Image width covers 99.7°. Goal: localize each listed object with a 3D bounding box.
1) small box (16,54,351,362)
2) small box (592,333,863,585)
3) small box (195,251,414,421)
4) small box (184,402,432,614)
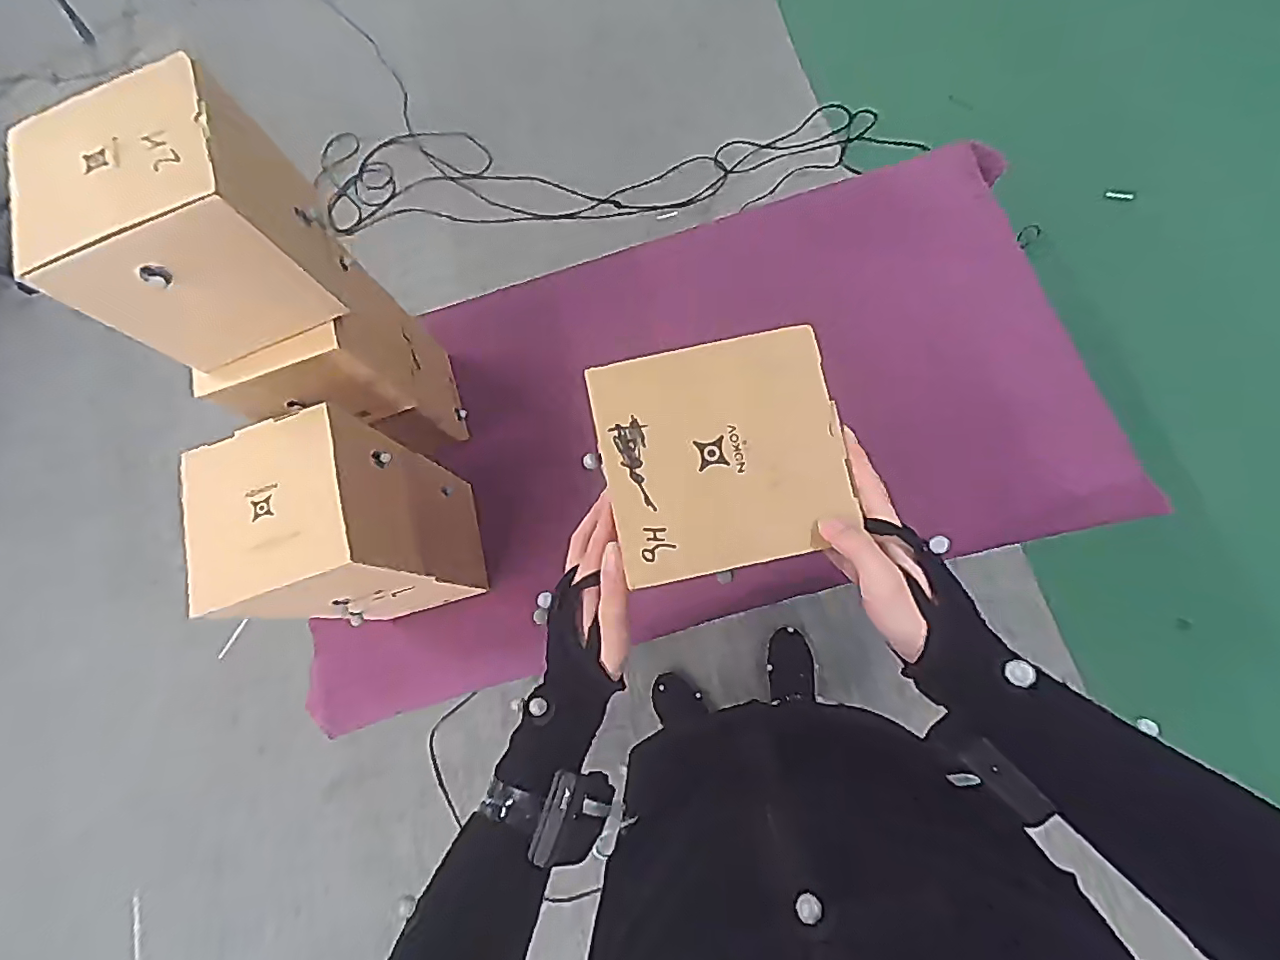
[{"bbox_3d":[-0.420,-0.241,0.519,0.179,0.176,0.168,-22,74,1],"label":"small box"},{"bbox_3d":[0.061,-0.007,0.473,0.179,0.176,0.168,-10,81,-2],"label":"small box"},{"bbox_3d":[-0.405,-0.172,0.670,0.168,0.176,0.179,-19,74,2],"label":"small box"},{"bbox_3d":[-0.359,0.042,0.607,0.168,0.176,0.179,-18,74,2],"label":"small box"}]
